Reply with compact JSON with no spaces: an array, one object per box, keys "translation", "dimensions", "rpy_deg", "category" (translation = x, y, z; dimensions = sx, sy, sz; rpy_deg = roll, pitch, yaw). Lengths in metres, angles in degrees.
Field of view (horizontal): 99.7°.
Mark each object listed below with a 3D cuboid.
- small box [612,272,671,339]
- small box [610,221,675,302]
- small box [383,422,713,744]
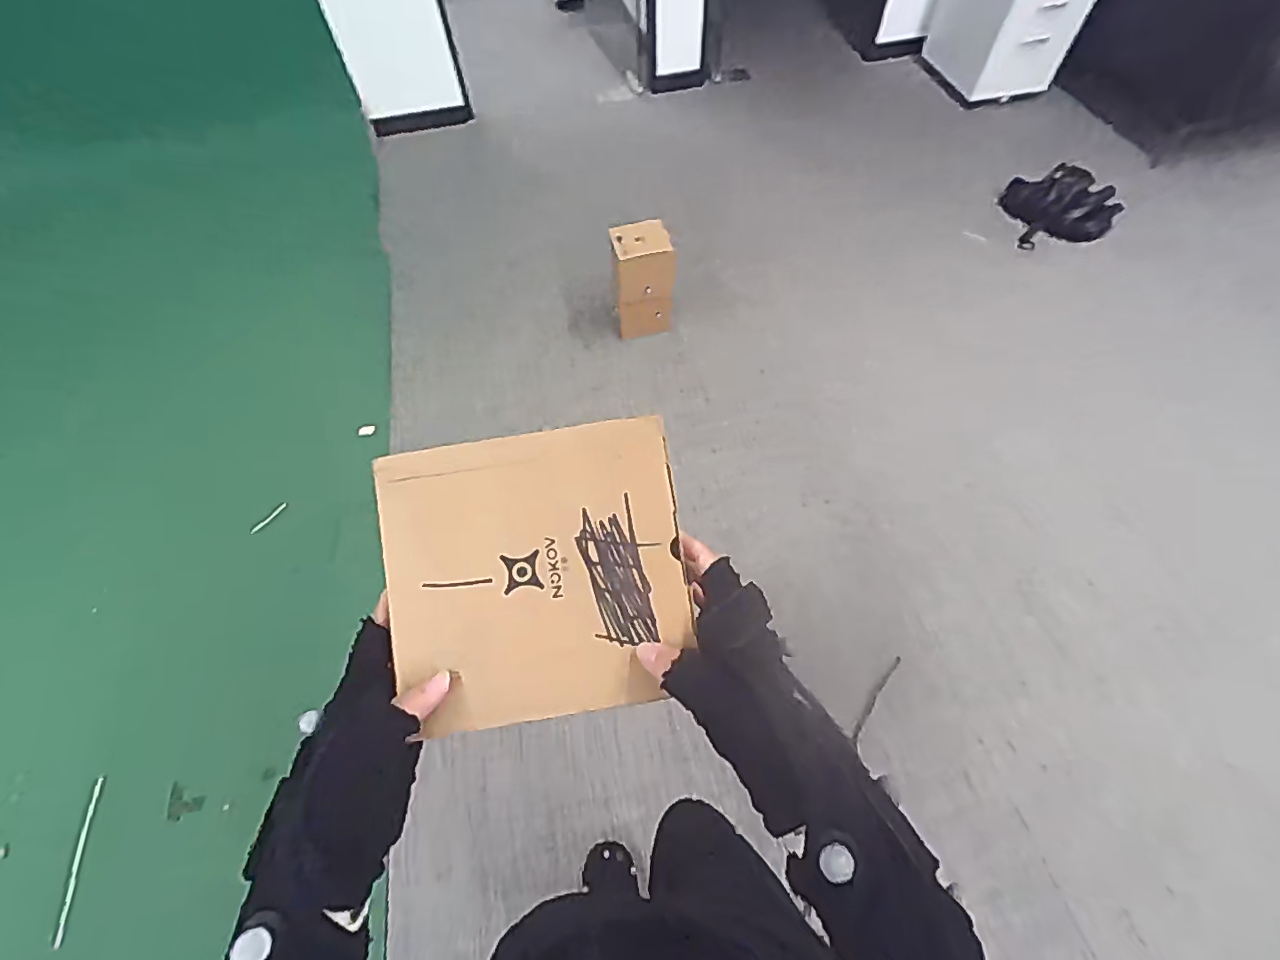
[{"translation":[0.006,-0.625,1.899],"dimensions":[0.179,0.176,0.168],"rpy_deg":[-13,59,-4],"category":"small box"},{"translation":[0.007,-0.706,1.757],"dimensions":[0.179,0.176,0.168],"rpy_deg":[-12,59,-6],"category":"small box"},{"translation":[-0.059,0.065,0.403],"dimensions":[0.179,0.176,0.168],"rpy_deg":[-11,84,-3],"category":"small box"}]
